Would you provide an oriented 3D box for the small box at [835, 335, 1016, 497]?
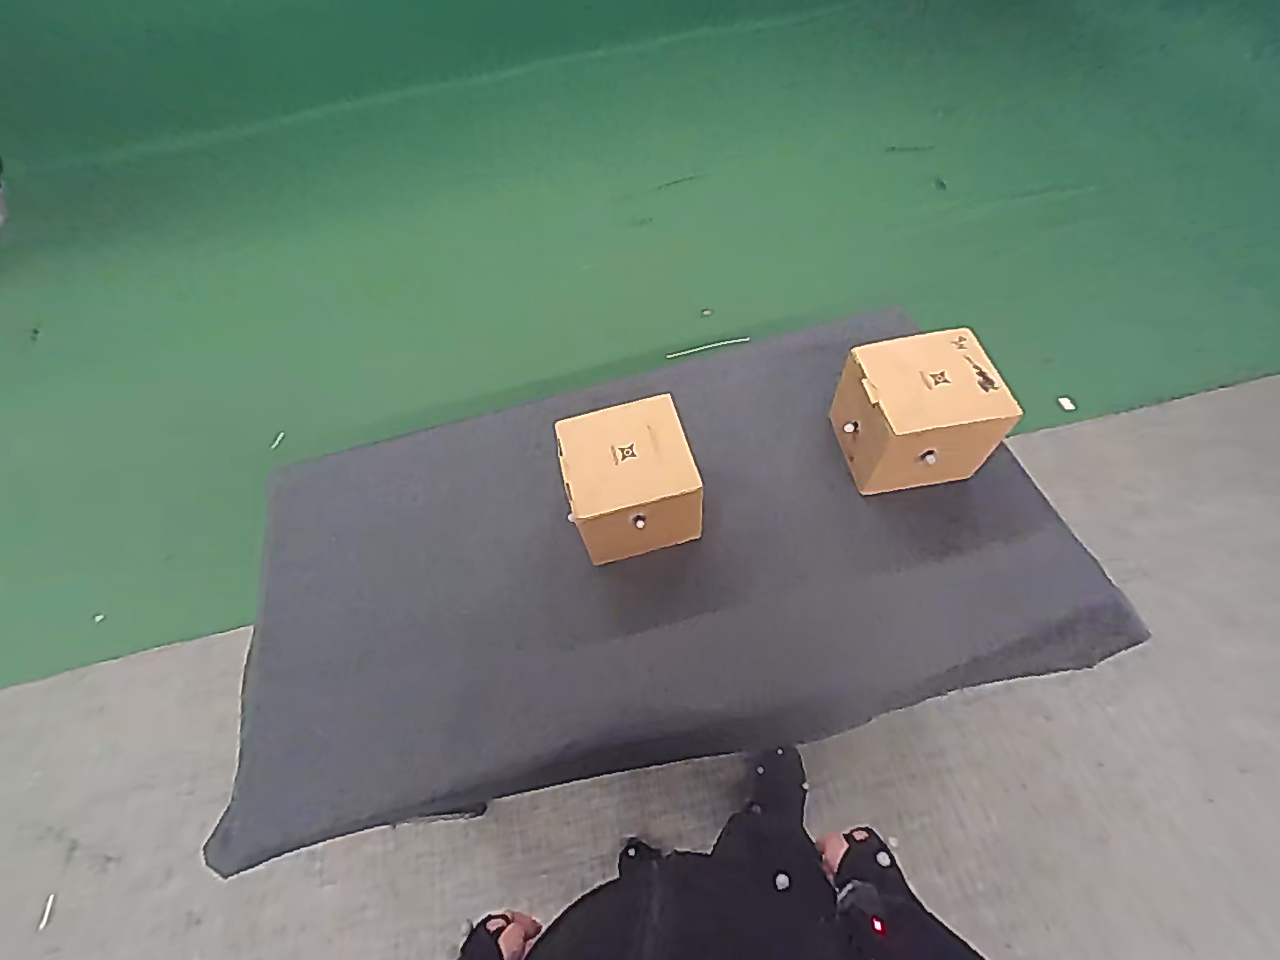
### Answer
[{"bbox_3d":[0.410,-0.090,0.822,0.179,0.176,0.168,-10,60,1],"label":"small box"}]

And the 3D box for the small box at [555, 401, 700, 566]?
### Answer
[{"bbox_3d":[-0.014,0.012,0.812,0.179,0.176,0.168,-14,60,-4],"label":"small box"}]
